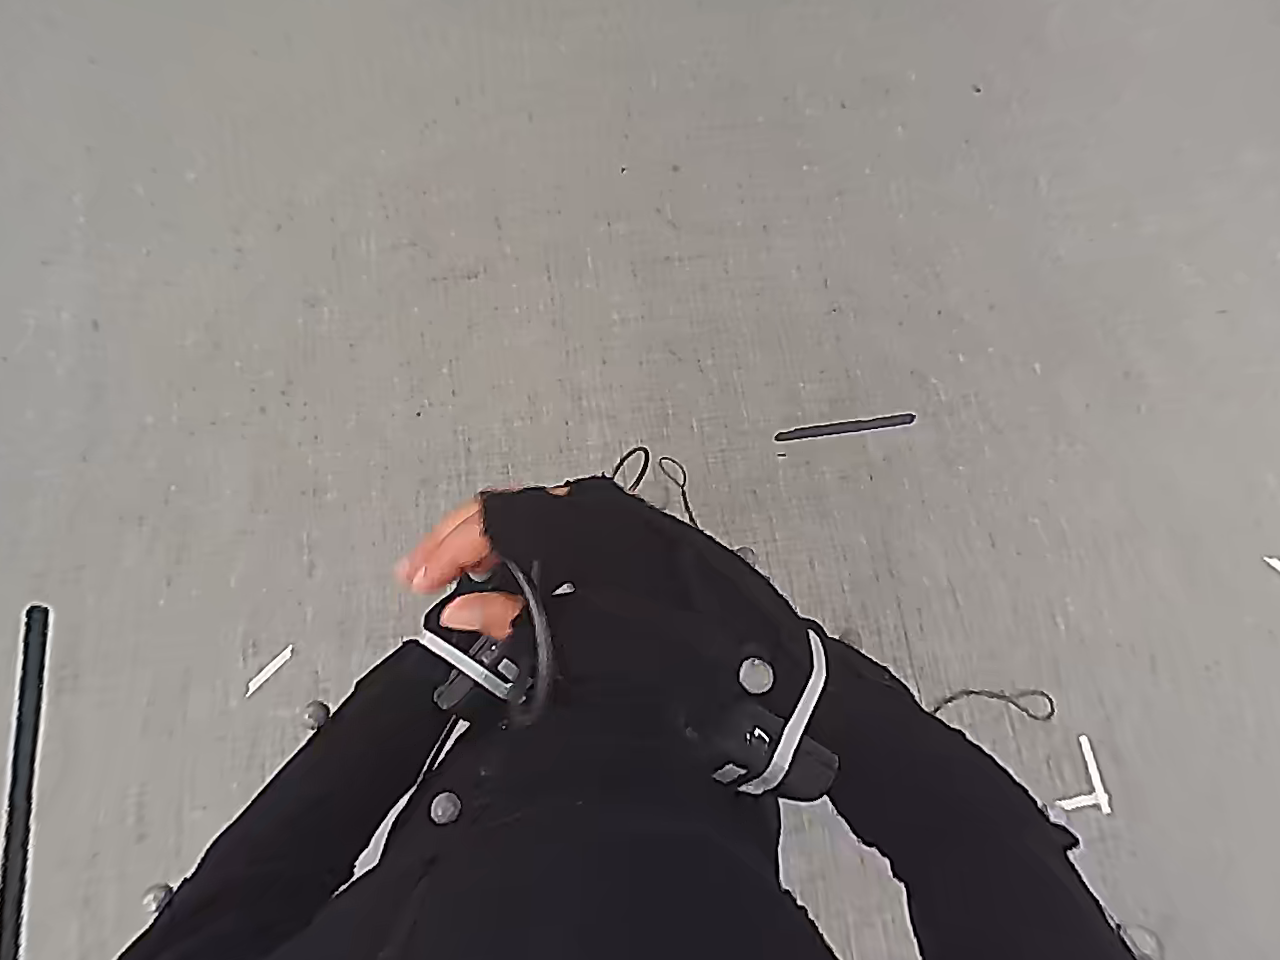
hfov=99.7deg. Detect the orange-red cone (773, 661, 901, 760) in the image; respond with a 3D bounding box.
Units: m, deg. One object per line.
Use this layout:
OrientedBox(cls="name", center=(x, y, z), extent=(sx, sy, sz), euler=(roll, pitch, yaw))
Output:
OrientedBox(cls="orange-red cone", center=(0.432, 0.509, 1.114), extent=(0.199, 0.360, 0.198), euler=(-11, 78, -3))
